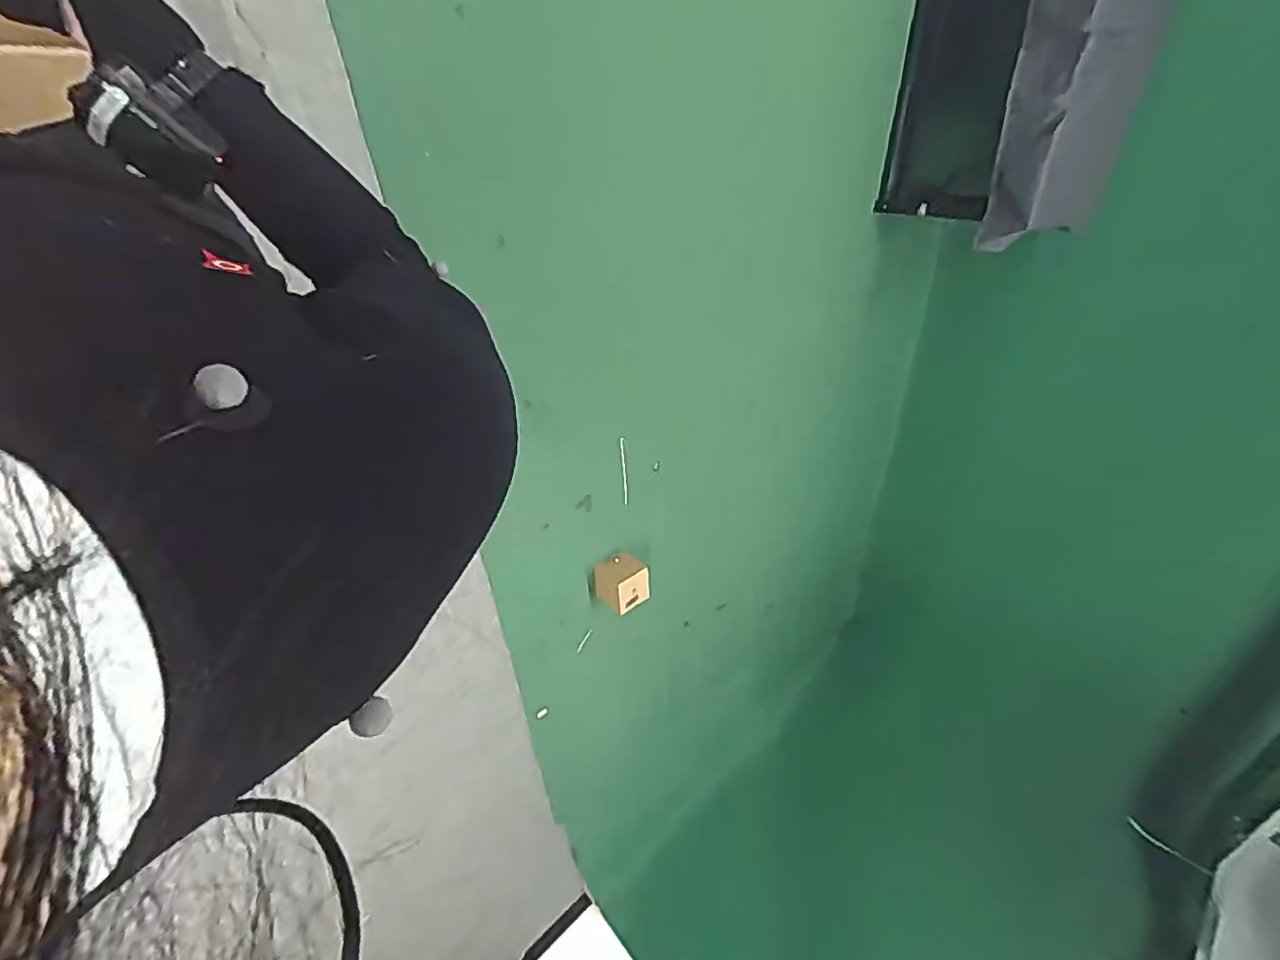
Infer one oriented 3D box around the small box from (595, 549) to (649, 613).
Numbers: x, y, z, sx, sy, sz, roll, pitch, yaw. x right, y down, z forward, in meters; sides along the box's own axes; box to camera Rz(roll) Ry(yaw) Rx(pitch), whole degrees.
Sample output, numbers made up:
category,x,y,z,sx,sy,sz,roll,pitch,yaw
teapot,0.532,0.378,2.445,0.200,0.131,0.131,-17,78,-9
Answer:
category,x,y,z,sx,sy,sz,roll,pitch,yaw
small box,-0.078,0.432,2.332,0.168,0.176,0.179,-27,129,-33
